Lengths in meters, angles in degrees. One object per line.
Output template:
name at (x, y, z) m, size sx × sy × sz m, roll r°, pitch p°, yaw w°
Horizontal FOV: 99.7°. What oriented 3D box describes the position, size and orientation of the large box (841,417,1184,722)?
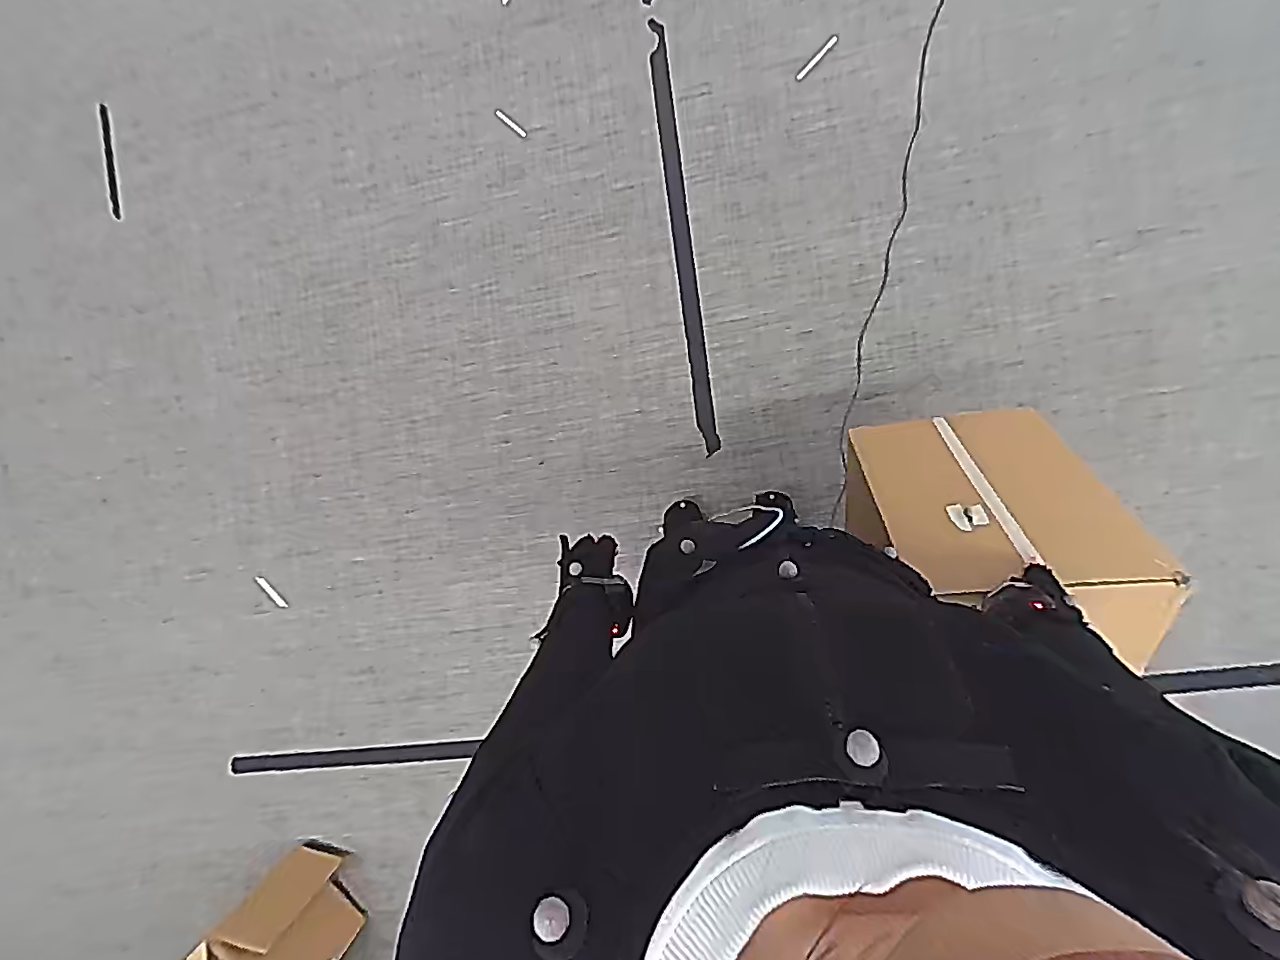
large box at (0.548, 0.141, 0.920) m, size 0.320 × 0.408 × 0.320 m, roll -7°, pitch 127°, yaw 11°
